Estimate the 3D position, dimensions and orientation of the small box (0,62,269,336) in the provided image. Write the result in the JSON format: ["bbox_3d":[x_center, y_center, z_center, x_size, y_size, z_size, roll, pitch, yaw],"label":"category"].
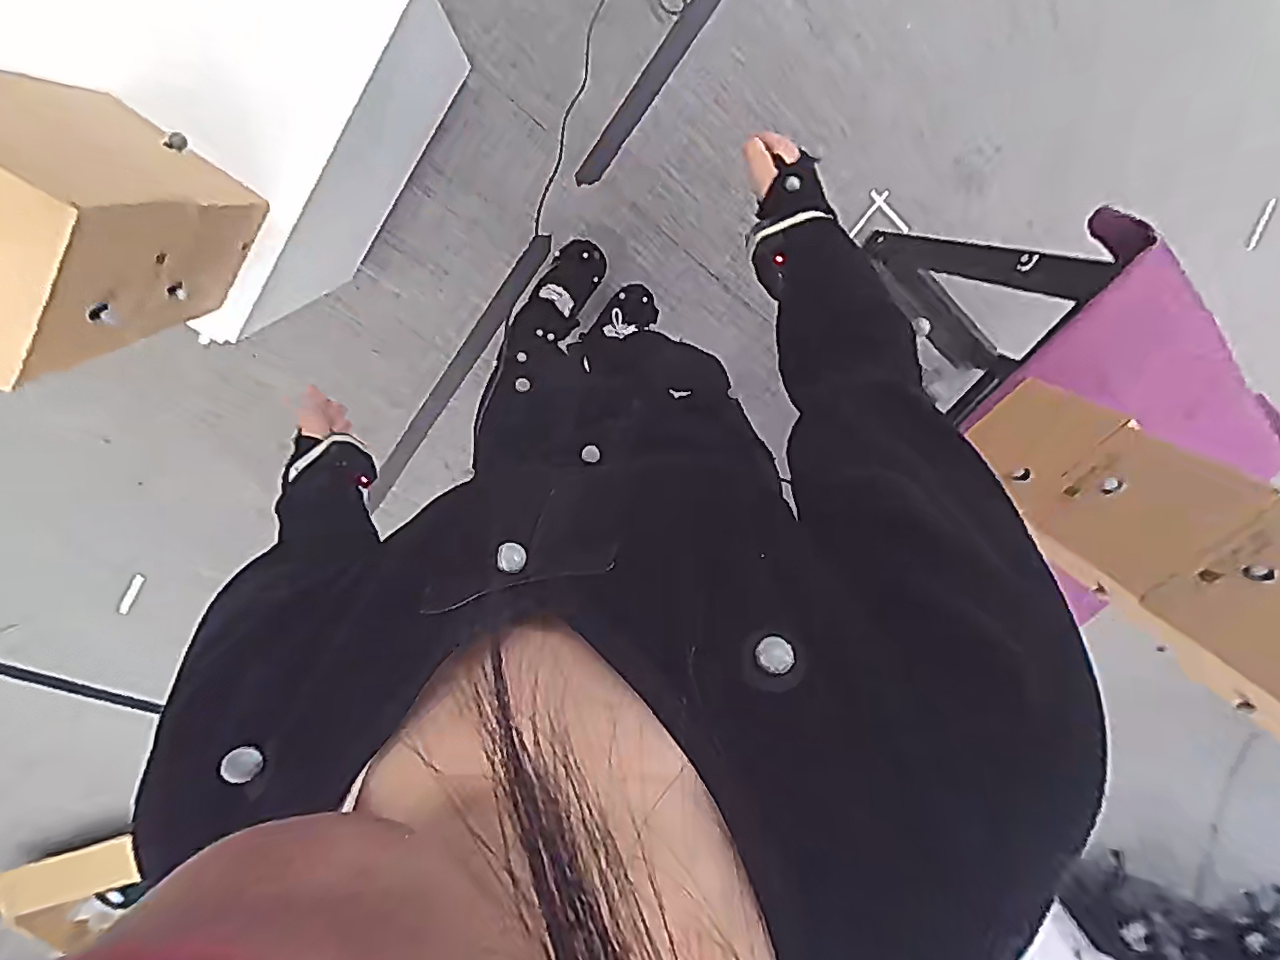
[{"bbox_3d":[-0.547,-0.283,0.572,0.179,0.176,0.168,33,107,-24],"label":"small box"}]

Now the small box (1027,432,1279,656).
[{"bbox_3d":[0.626,0.070,0.650,0.179,0.176,0.168,35,107,-25],"label":"small box"}]

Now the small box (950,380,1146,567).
[{"bbox_3d":[0.593,-0.014,0.787,0.168,0.176,0.179,36,106,-26],"label":"small box"}]

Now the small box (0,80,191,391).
[{"bbox_3d":[-0.516,-0.206,0.431,0.179,0.176,0.168,31,108,-24],"label":"small box"}]
